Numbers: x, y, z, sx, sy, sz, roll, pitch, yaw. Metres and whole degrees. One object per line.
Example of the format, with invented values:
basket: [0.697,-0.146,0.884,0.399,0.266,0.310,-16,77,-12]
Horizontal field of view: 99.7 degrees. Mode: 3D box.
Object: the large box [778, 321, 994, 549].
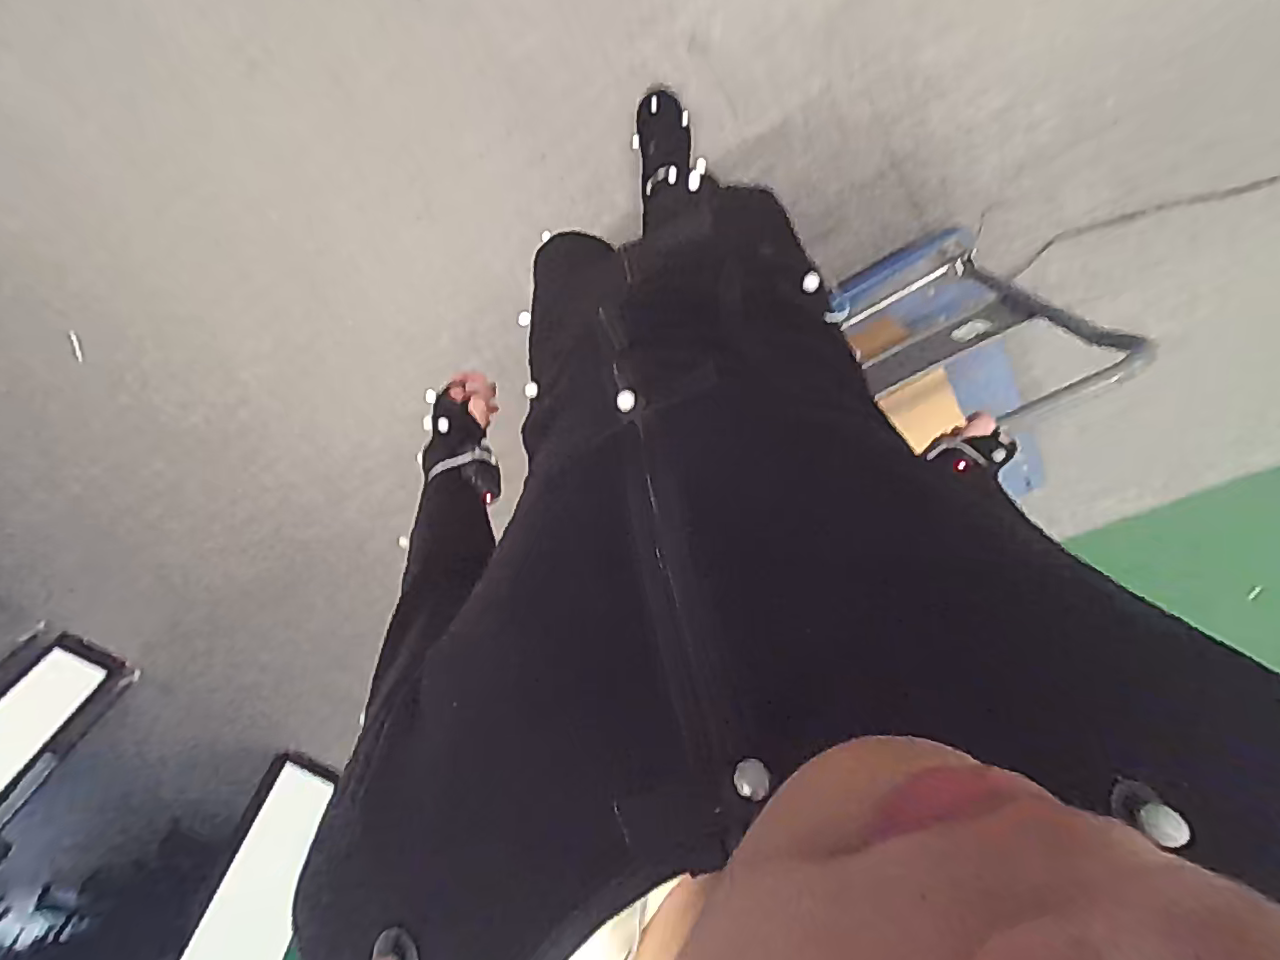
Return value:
large box: [0.596,-0.112,1.351,0.320,0.320,0.408,-29,120,21]
